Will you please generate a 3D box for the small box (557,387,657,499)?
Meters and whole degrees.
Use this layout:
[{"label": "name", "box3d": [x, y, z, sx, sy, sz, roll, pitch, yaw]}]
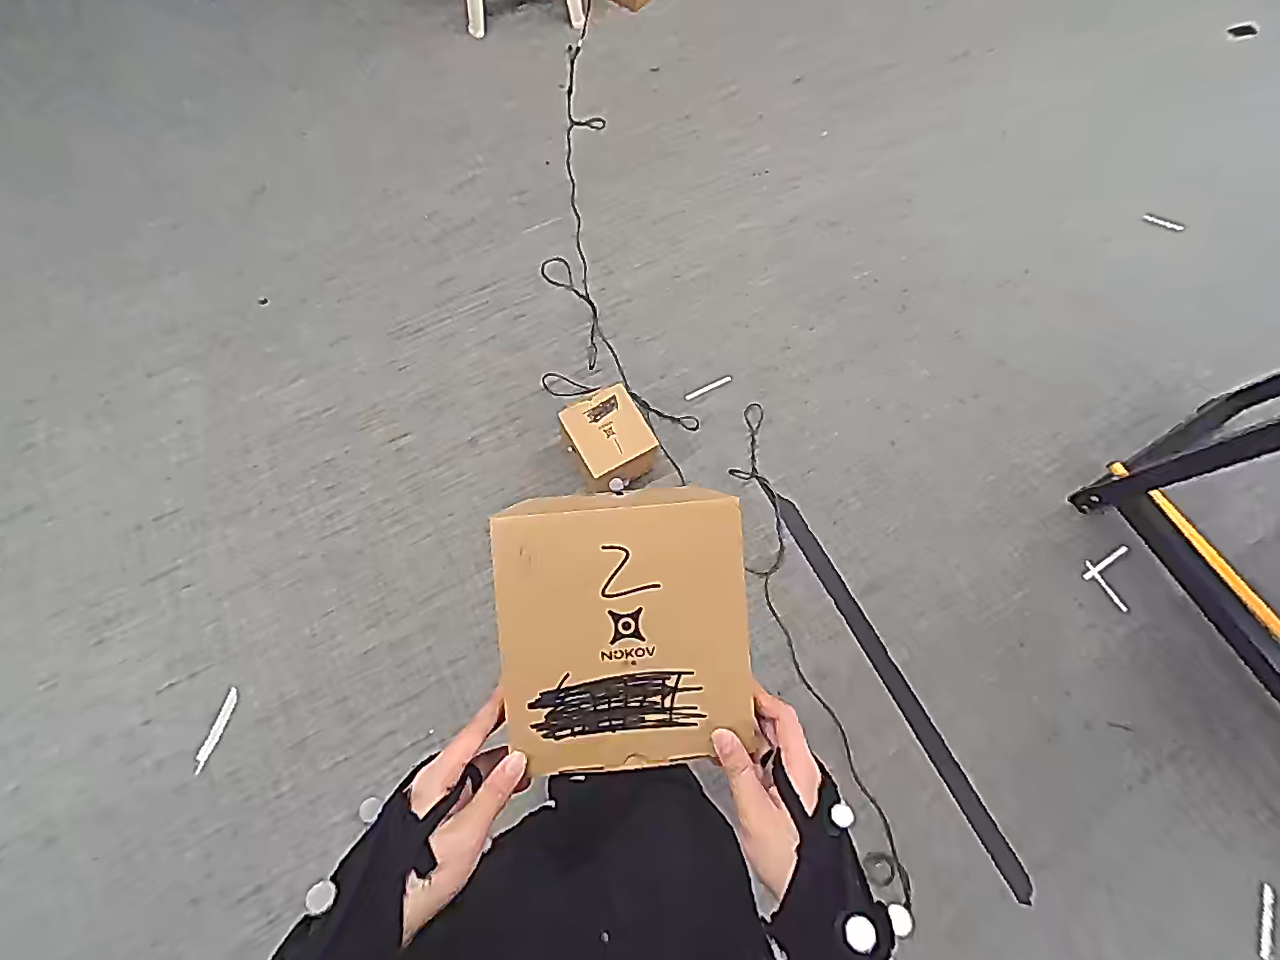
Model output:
[{"label": "small box", "box3d": [-0.081, -0.081, 1.268, 0.168, 0.176, 0.179, -28, 77, -12]}]
